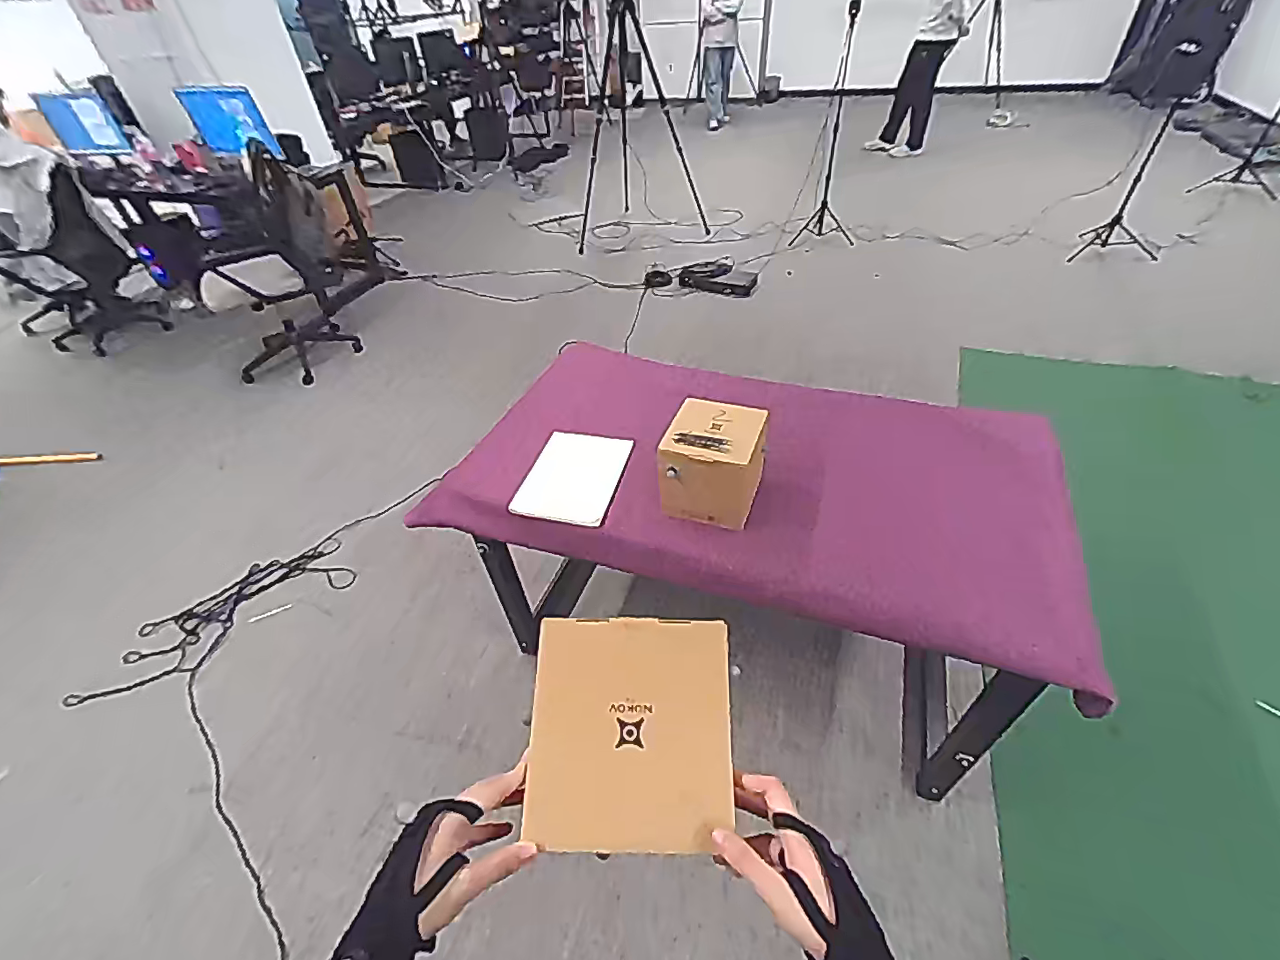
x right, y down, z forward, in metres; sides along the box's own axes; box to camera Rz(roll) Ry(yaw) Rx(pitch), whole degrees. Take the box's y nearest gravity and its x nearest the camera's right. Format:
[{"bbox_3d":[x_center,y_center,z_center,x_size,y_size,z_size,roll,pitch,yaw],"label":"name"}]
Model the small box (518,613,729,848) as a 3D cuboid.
[{"bbox_3d":[-0.010,0.234,0.518,0.168,0.176,0.179,1,63,0],"label":"small box"}]
